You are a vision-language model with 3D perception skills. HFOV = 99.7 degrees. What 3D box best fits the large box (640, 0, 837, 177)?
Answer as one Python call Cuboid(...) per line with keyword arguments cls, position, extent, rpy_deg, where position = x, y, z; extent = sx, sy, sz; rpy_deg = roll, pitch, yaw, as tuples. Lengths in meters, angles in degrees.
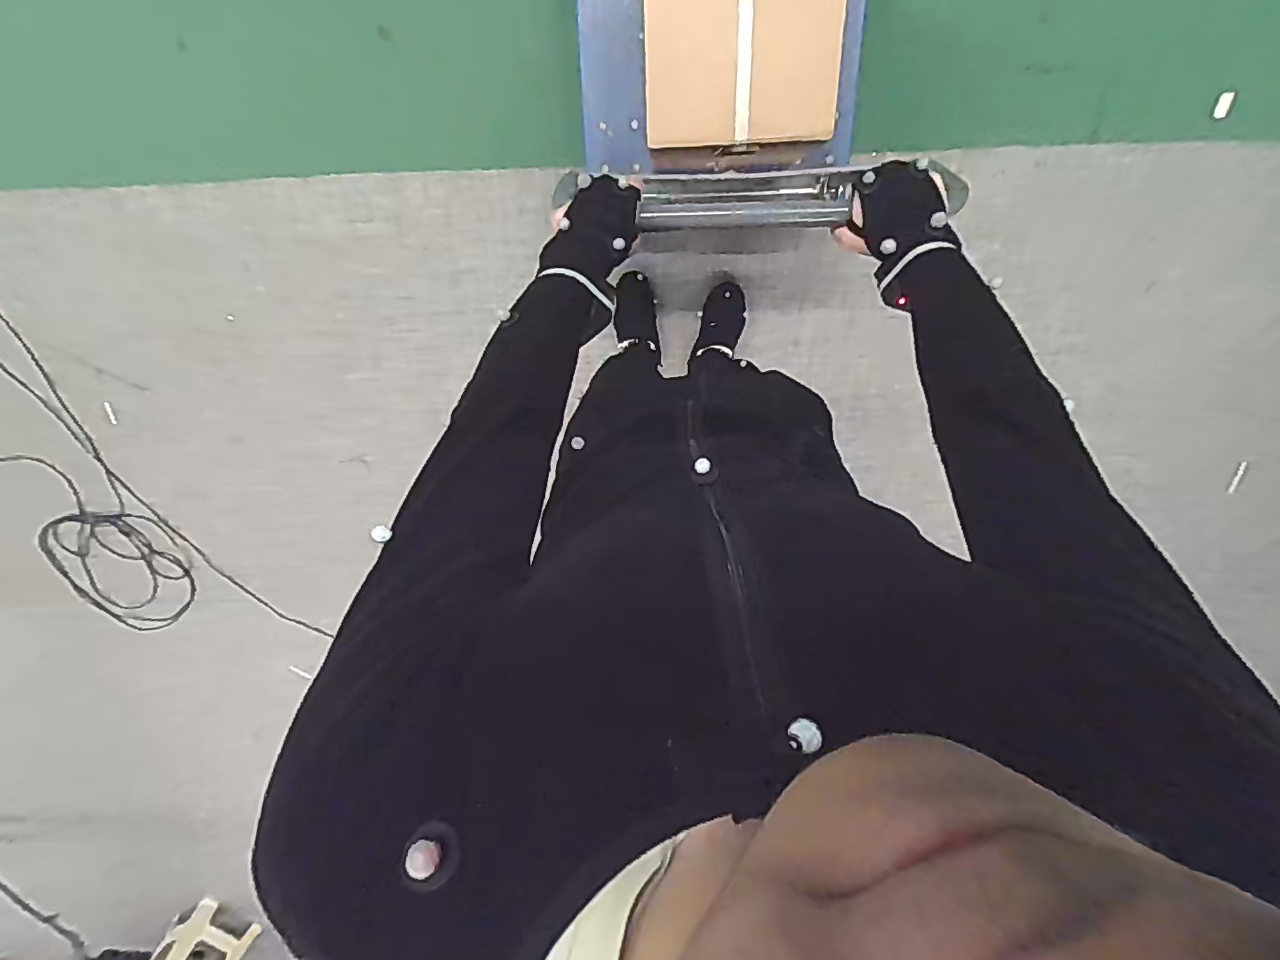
Cuboid(cls="large box", position=(0.165, -0.806, 0.987), extent=(0.320, 0.320, 0.408), rpy_deg=(-1, 113, 4))
